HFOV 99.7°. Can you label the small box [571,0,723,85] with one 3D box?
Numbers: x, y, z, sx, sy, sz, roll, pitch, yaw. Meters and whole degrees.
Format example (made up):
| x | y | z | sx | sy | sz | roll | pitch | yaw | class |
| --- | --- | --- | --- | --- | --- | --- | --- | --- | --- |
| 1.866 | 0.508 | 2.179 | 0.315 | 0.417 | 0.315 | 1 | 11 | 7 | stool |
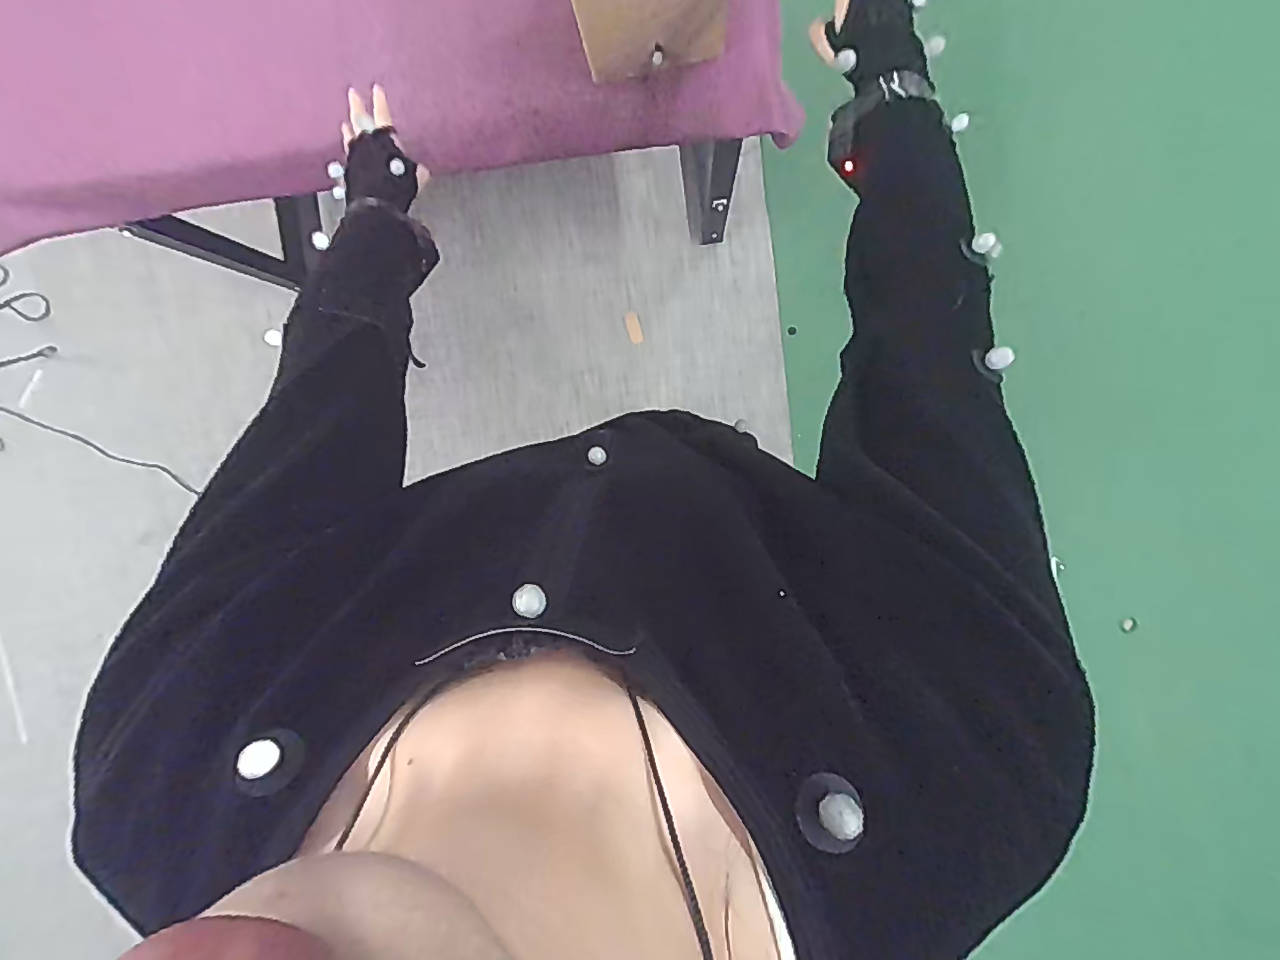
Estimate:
| x | y | z | sx | sy | sz | roll | pitch | yaw | class |
| --- | --- | --- | --- | --- | --- | --- | --- | --- | --- |
| 0.002 | -0.613 | 0.635 | 0.179 | 0.176 | 0.168 | -10 | 94 | 5 | small box |
